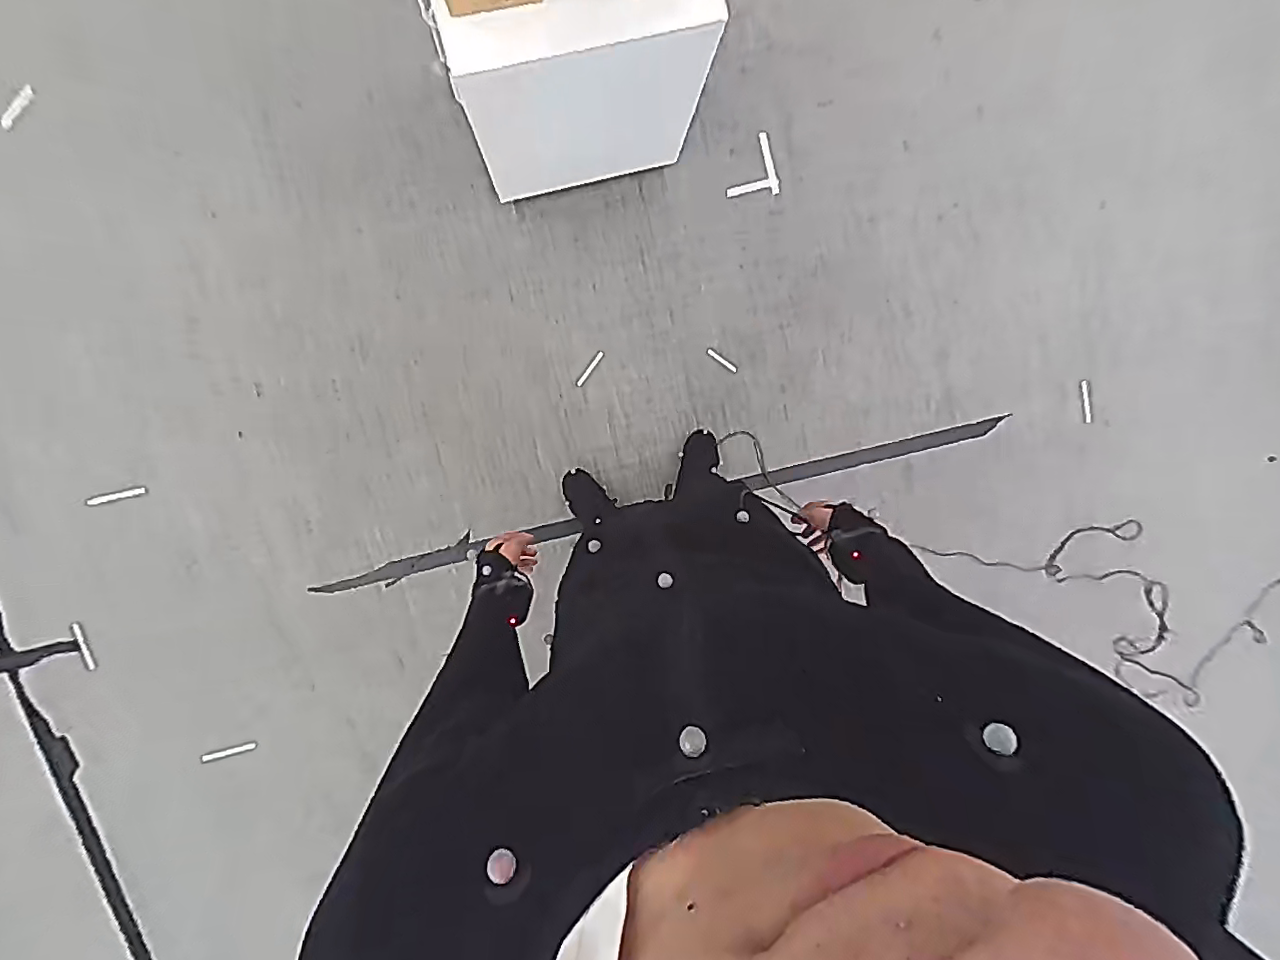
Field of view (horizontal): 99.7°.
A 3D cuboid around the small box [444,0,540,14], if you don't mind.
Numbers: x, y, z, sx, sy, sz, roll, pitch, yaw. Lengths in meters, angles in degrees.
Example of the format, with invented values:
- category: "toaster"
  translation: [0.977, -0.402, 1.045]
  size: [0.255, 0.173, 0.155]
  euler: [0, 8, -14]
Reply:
- category: "small box"
  translation: [-0.257, -0.877, 0.843]
  size: [0.168, 0.176, 0.179]
  euler: [-15, 97, -4]
